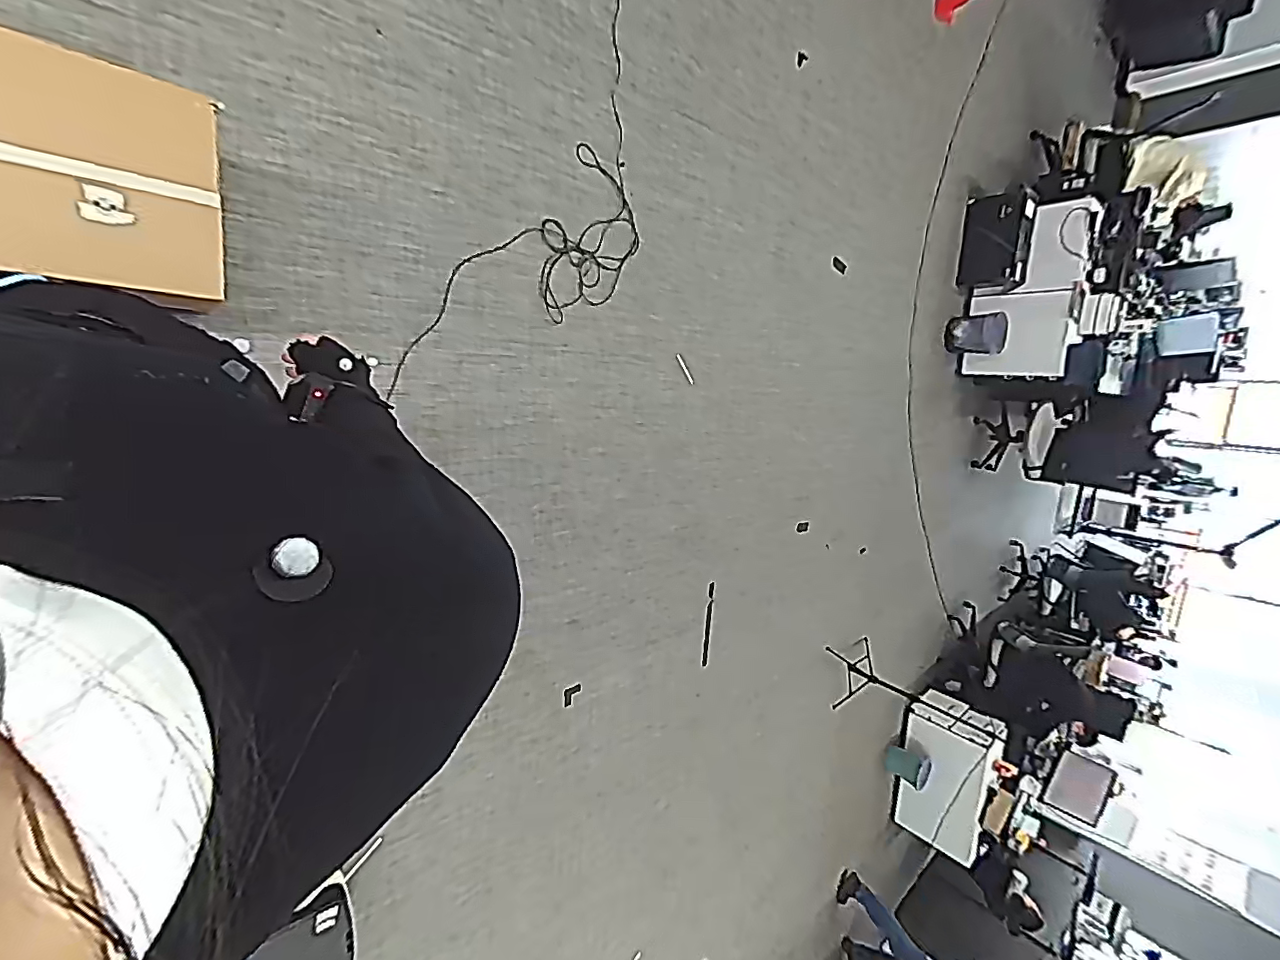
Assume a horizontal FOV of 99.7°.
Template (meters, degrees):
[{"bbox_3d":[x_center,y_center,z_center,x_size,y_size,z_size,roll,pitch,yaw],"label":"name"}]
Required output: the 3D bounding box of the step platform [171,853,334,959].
[{"bbox_3d":[-1.072,1.169,1.200,0.684,0.204,0.286,-8,105,-39],"label":"step platform"}]

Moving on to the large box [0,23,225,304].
[{"bbox_3d":[-0.934,-0.478,0.860,0.408,0.320,0.320,-3,103,-42],"label":"large box"}]
